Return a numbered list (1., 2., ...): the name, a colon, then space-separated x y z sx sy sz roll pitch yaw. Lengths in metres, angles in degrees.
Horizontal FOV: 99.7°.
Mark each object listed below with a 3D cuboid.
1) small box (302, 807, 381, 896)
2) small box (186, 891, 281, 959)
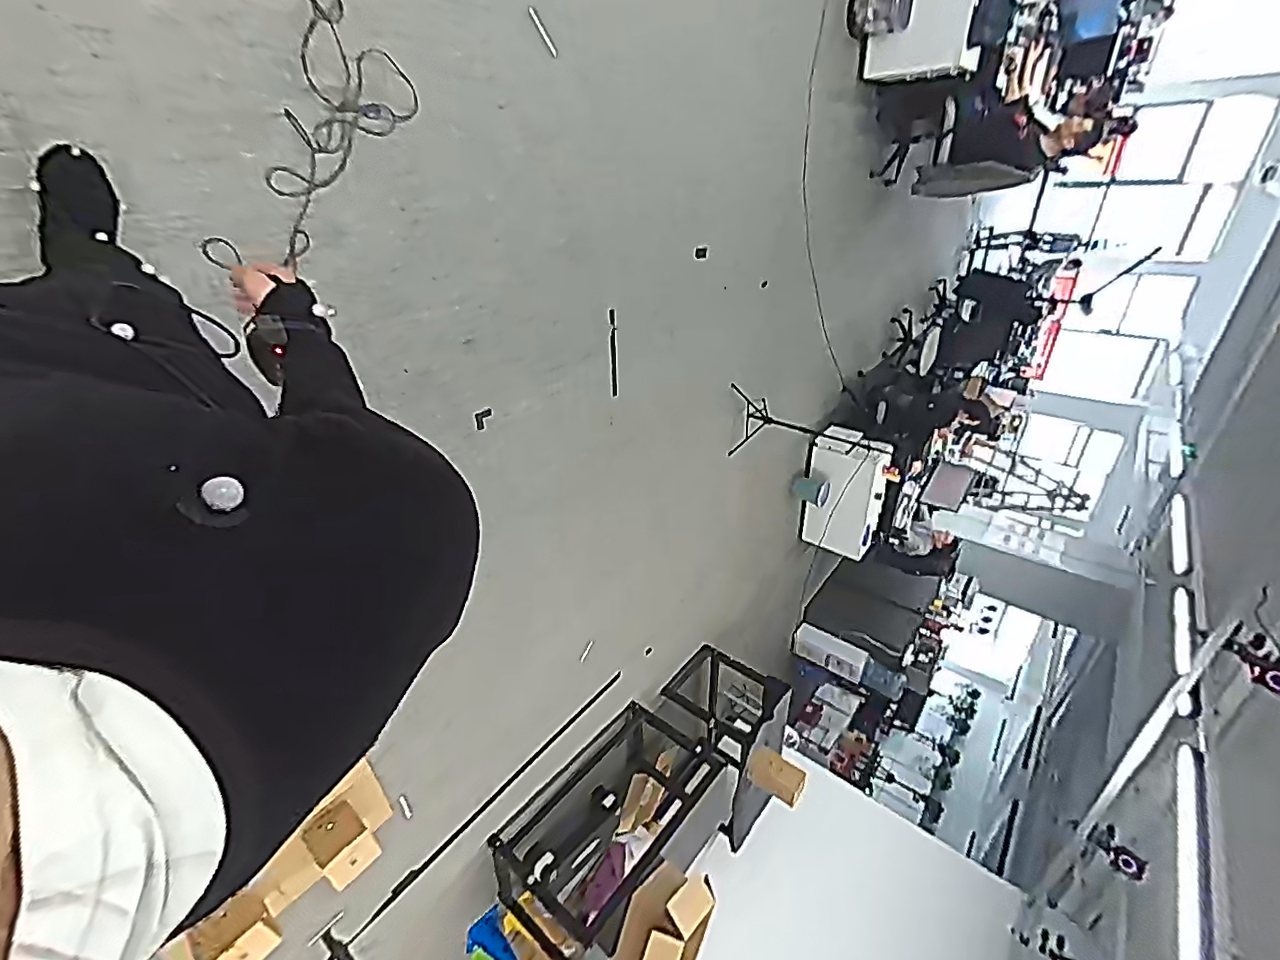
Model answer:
1. small box: -1.072 1.327 1.943 0.168 0.176 0.179 -35 132 -41
2. small box: -1.294 1.469 1.723 0.168 0.176 0.179 -37 133 -37
